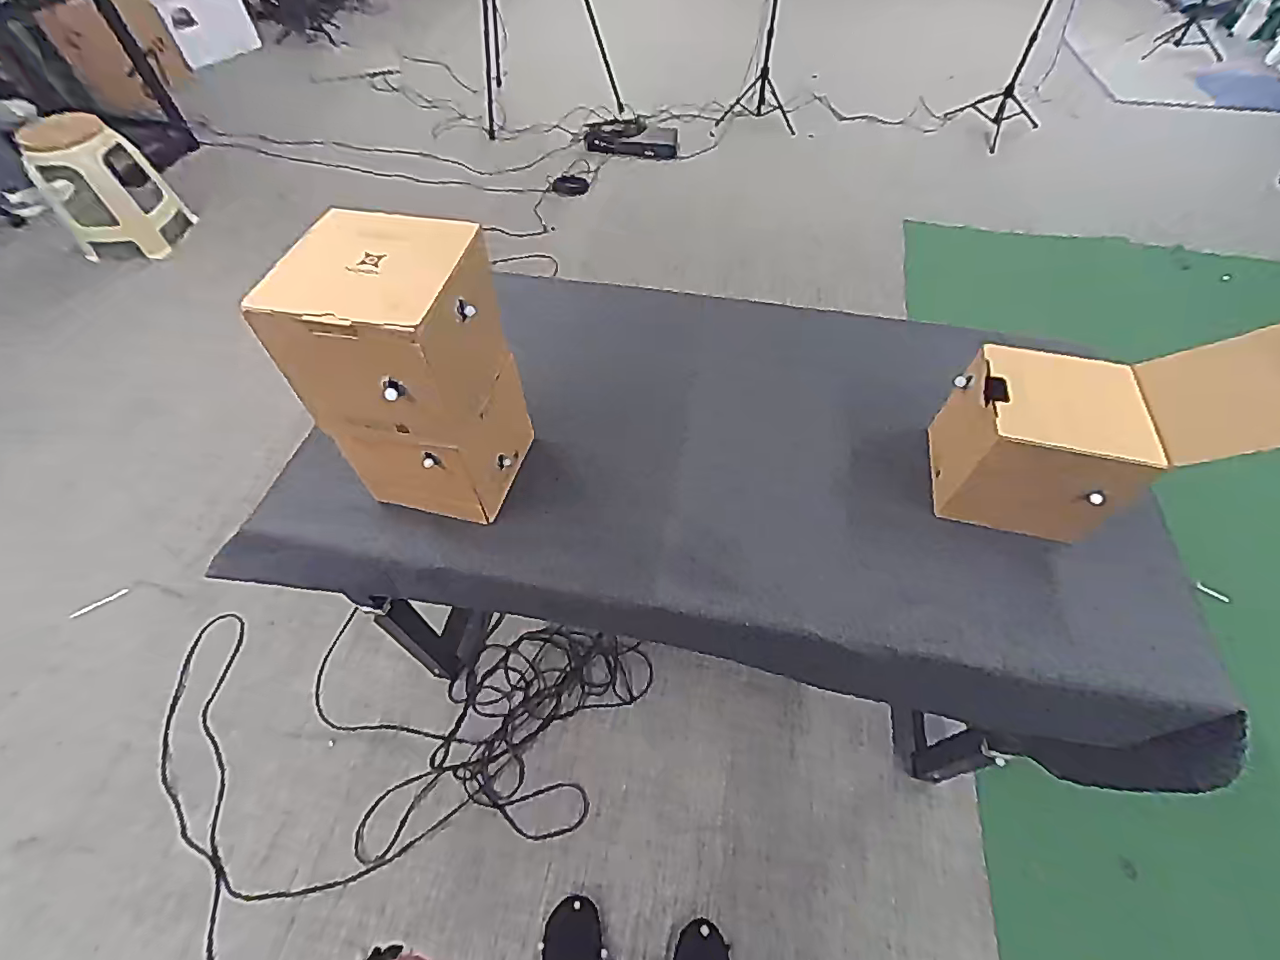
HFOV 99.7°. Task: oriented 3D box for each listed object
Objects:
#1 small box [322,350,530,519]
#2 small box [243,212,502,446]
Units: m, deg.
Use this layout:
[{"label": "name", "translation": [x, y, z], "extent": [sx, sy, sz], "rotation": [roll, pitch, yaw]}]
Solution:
[{"label": "small box", "translation": [-0.264, -0.067, 0.717], "extent": [0.179, 0.176, 0.168], "rotation": [12, 54, 8]}, {"label": "small box", "translation": [-0.260, -0.158, 0.582], "extent": [0.168, 0.176, 0.179], "rotation": [8, 53, 4]}]
